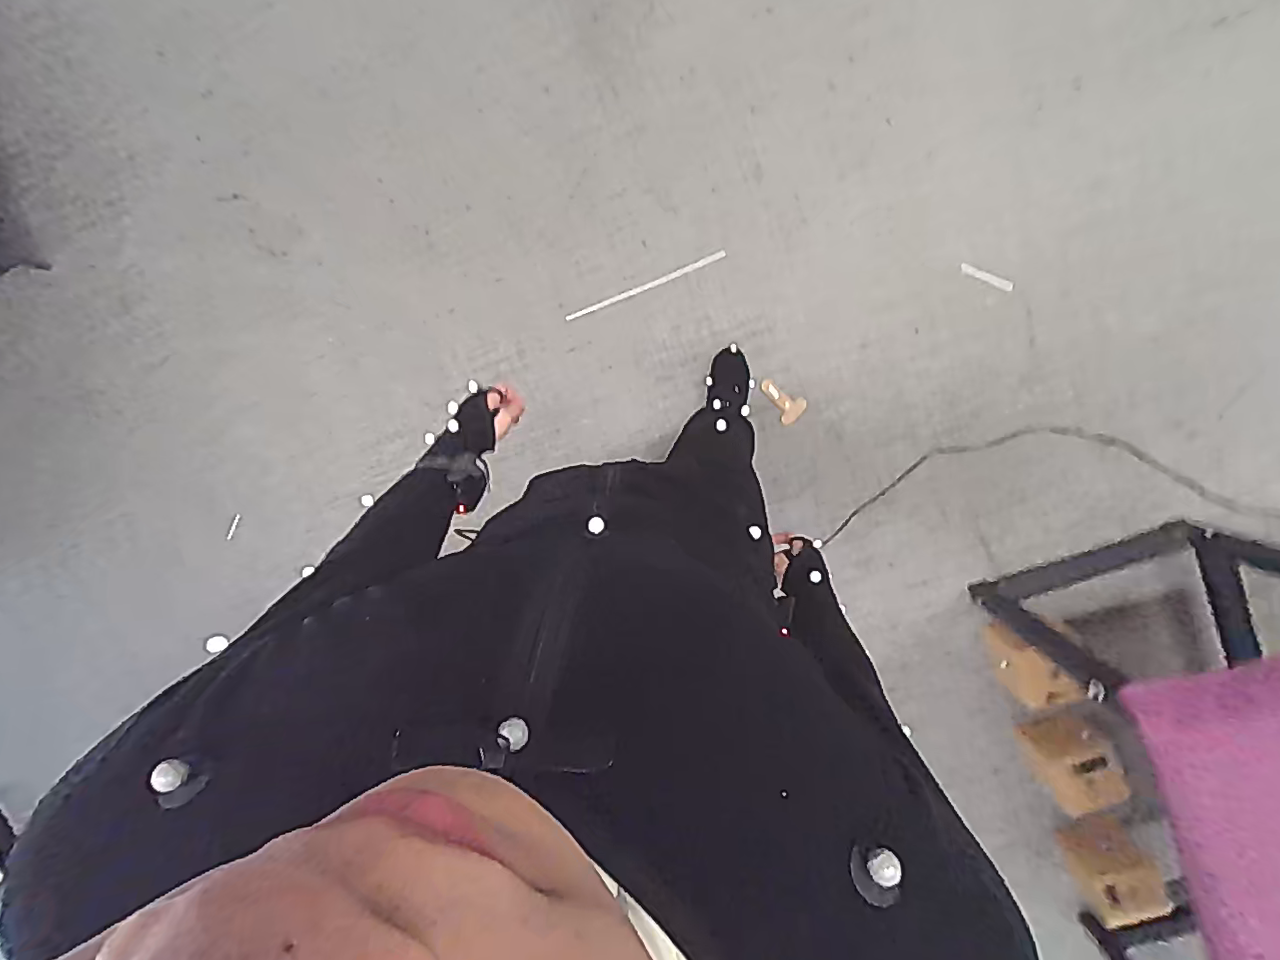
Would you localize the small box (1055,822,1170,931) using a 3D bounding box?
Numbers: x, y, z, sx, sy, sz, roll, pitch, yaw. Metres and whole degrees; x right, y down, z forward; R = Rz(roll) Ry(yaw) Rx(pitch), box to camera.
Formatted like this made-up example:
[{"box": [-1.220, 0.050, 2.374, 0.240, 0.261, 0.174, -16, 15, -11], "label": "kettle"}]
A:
[{"box": [1.341, 1.132, 1.554, 0.179, 0.176, 0.168, -23, 96, 8], "label": "small box"}]

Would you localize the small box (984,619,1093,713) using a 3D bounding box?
[{"box": [1.081, 0.500, 1.484, 0.168, 0.176, 0.179, -17, 96, 9], "label": "small box"}]

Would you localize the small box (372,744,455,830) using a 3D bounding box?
[{"box": [-0.724, 0.989, 1.755, 0.179, 0.176, 0.168, -15, 97, 8], "label": "small box"}]
